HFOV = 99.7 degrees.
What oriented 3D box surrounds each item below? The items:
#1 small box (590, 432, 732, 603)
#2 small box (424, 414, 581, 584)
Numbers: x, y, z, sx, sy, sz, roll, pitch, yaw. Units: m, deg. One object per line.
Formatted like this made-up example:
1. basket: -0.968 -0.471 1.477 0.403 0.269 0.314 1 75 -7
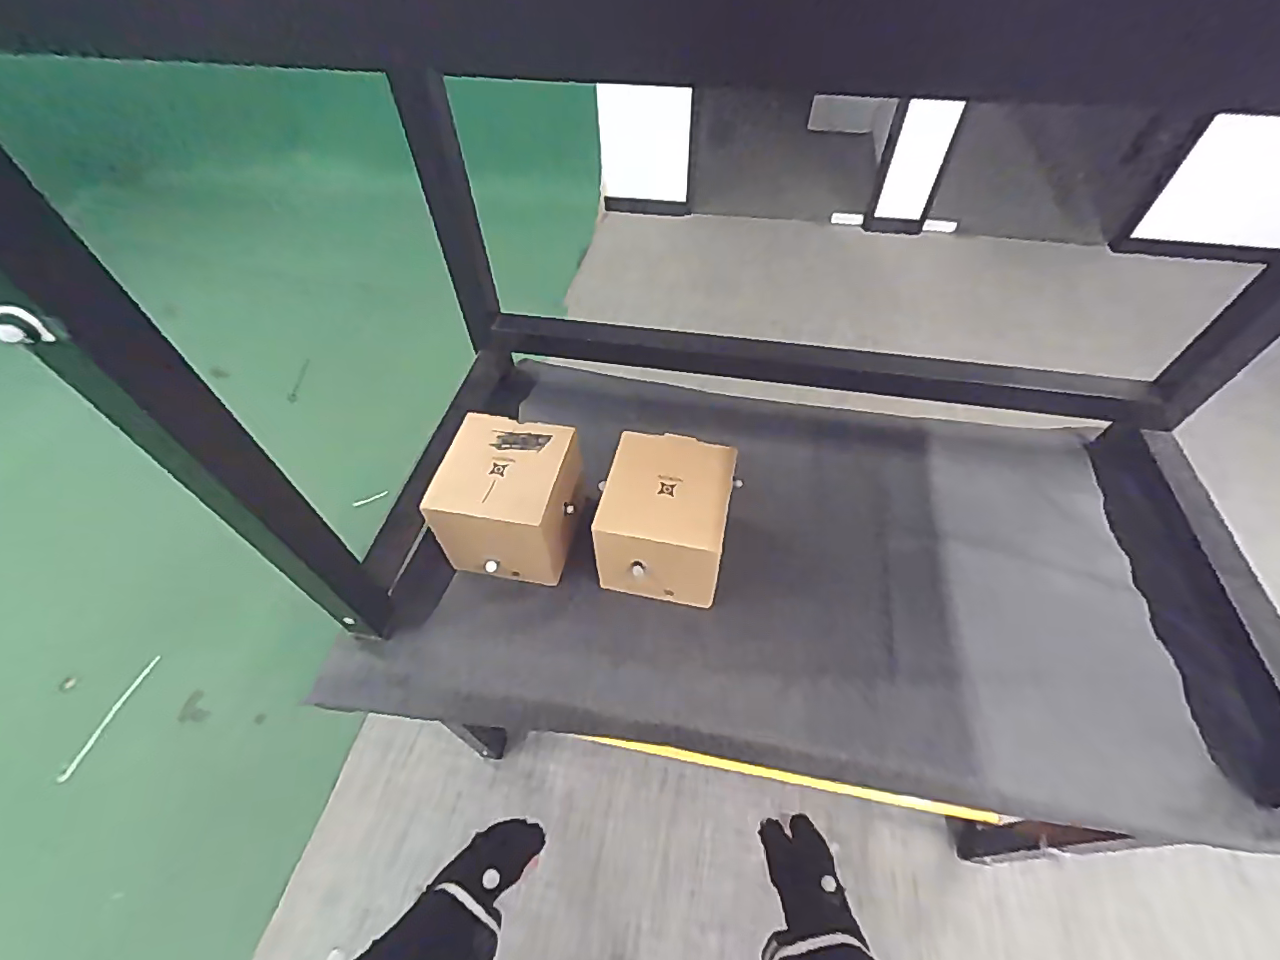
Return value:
1. small box: 0.035 0.058 0.788 0.168 0.176 0.179 9 52 8
2. small box: -0.190 0.030 0.810 0.168 0.176 0.179 8 53 7
